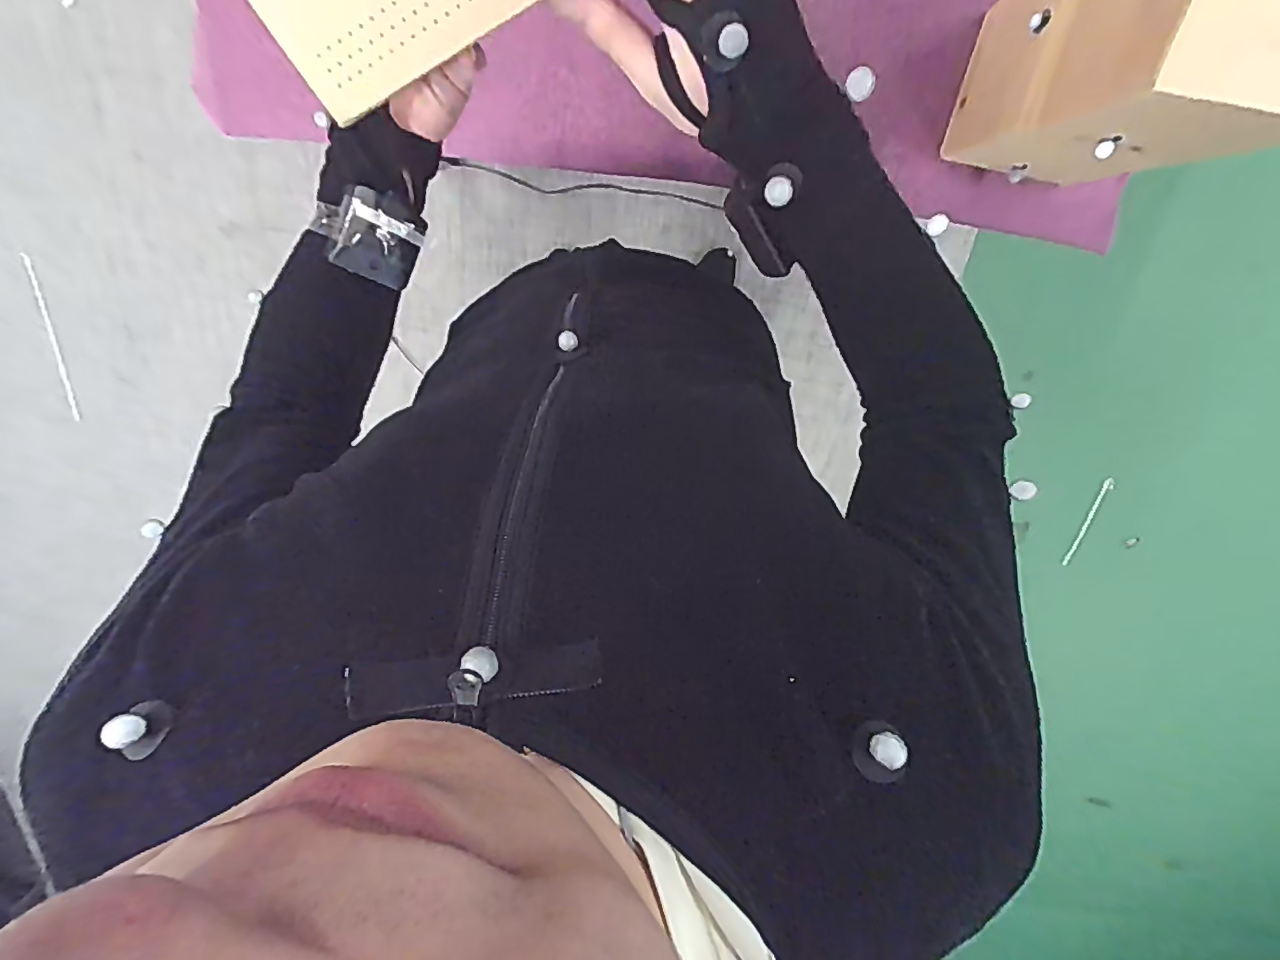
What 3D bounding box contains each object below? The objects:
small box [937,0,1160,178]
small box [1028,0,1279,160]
[{"bbox_3d":[0.486,-0.458,0.615,0.179,0.176,0.168,10,112,-3],"label":"small box"},{"bbox_3d":[0.486,-0.399,0.463,0.168,0.176,0.179,11,113,-1],"label":"small box"}]
